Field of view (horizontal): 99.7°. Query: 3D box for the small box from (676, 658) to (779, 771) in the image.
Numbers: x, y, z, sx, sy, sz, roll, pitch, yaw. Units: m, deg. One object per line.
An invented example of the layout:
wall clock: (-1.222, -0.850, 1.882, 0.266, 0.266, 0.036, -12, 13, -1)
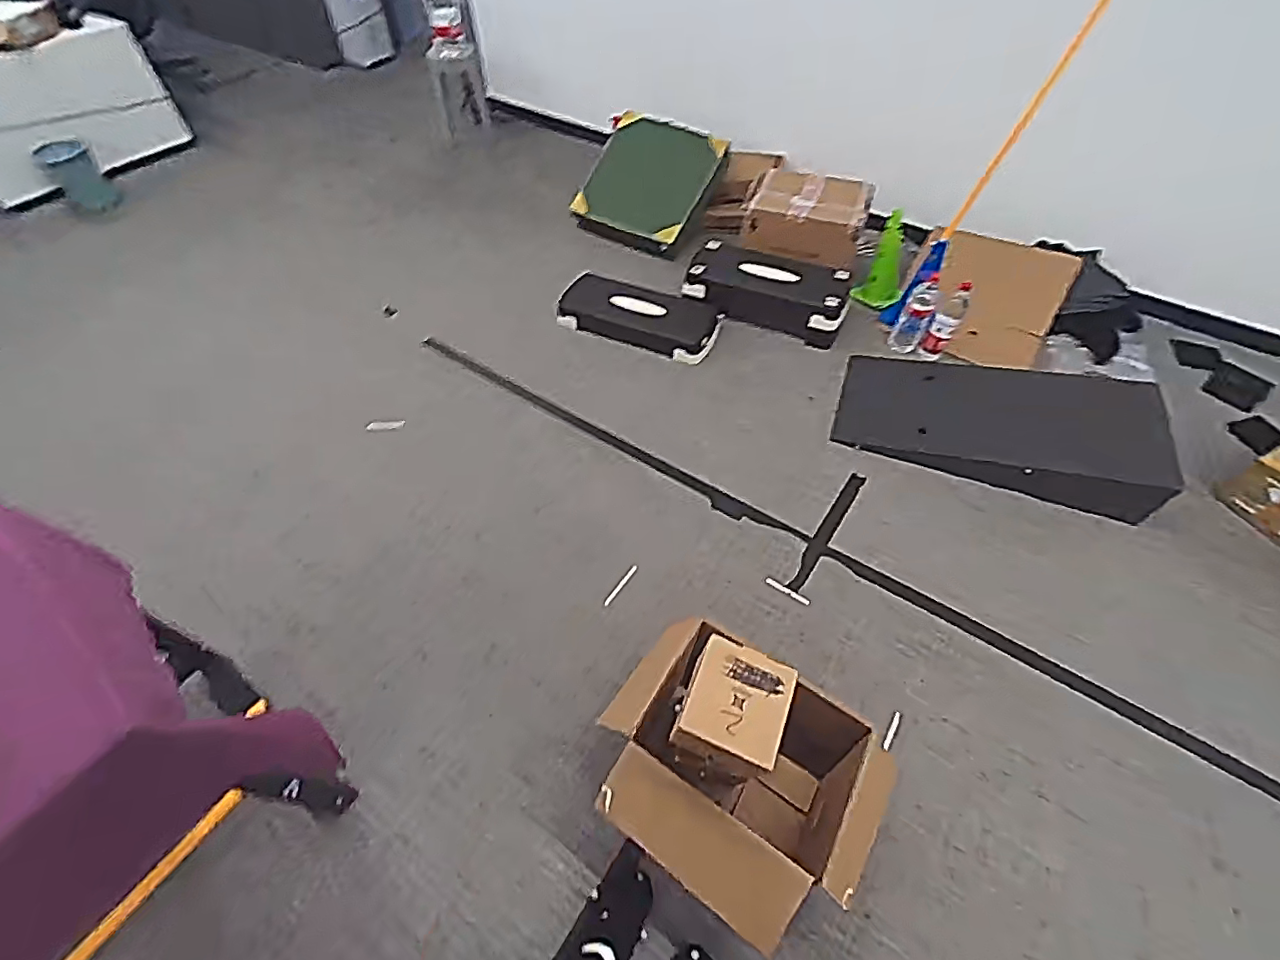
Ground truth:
small box: (0.179, 0.499, 1.139, 0.179, 0.176, 0.168, 13, 57, 5)
